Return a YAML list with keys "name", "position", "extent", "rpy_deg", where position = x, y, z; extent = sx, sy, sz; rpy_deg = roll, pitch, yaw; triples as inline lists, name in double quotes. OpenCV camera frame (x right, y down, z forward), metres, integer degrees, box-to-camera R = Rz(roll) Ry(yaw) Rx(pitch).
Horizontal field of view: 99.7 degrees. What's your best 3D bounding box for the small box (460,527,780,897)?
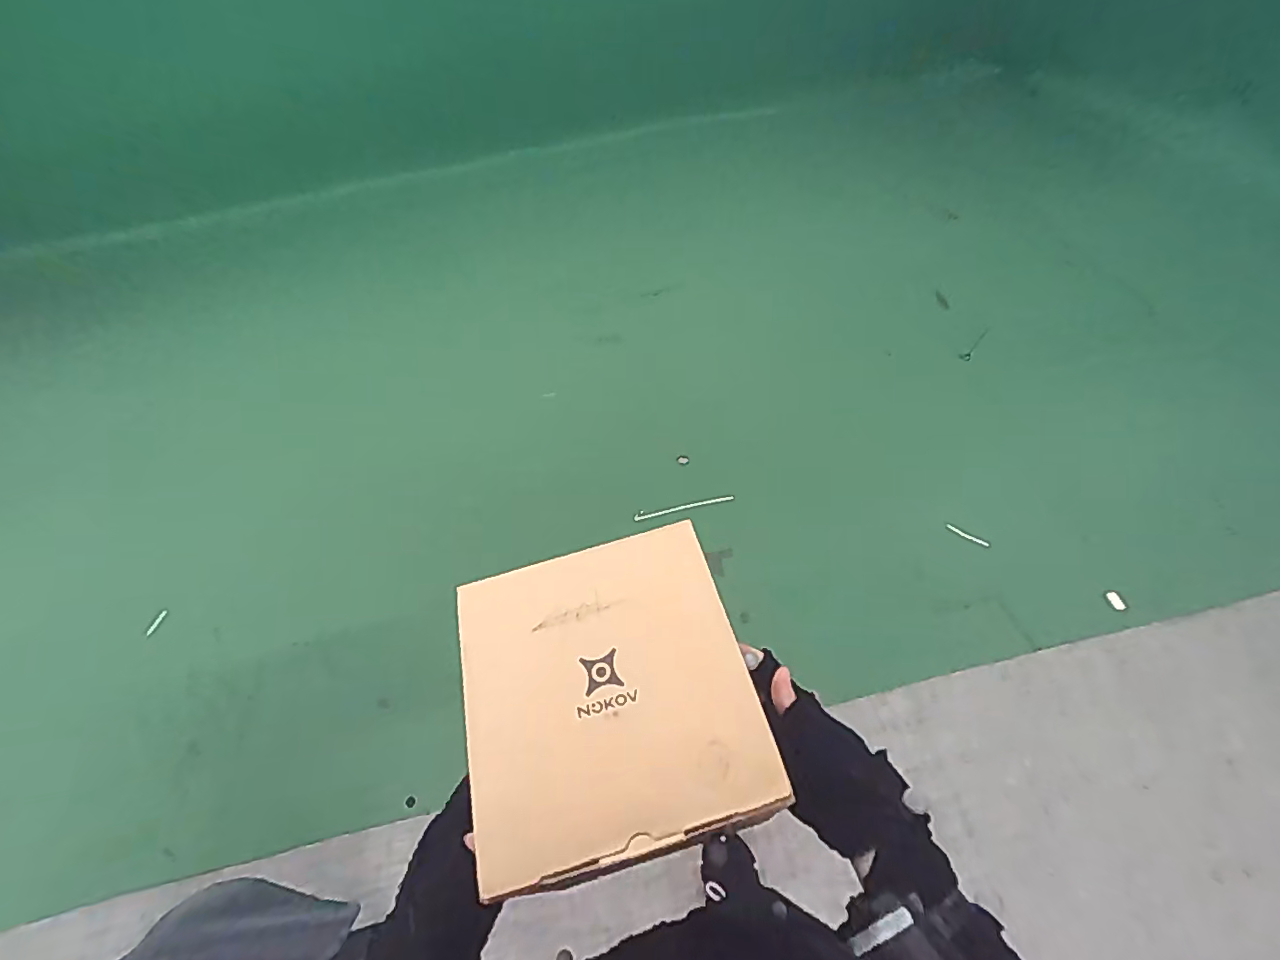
- name: "small box"
  position: [-0.015, 0.166, 0.390]
  extent: [0.168, 0.176, 0.179]
  rpy_deg: [-16, 55, -4]
